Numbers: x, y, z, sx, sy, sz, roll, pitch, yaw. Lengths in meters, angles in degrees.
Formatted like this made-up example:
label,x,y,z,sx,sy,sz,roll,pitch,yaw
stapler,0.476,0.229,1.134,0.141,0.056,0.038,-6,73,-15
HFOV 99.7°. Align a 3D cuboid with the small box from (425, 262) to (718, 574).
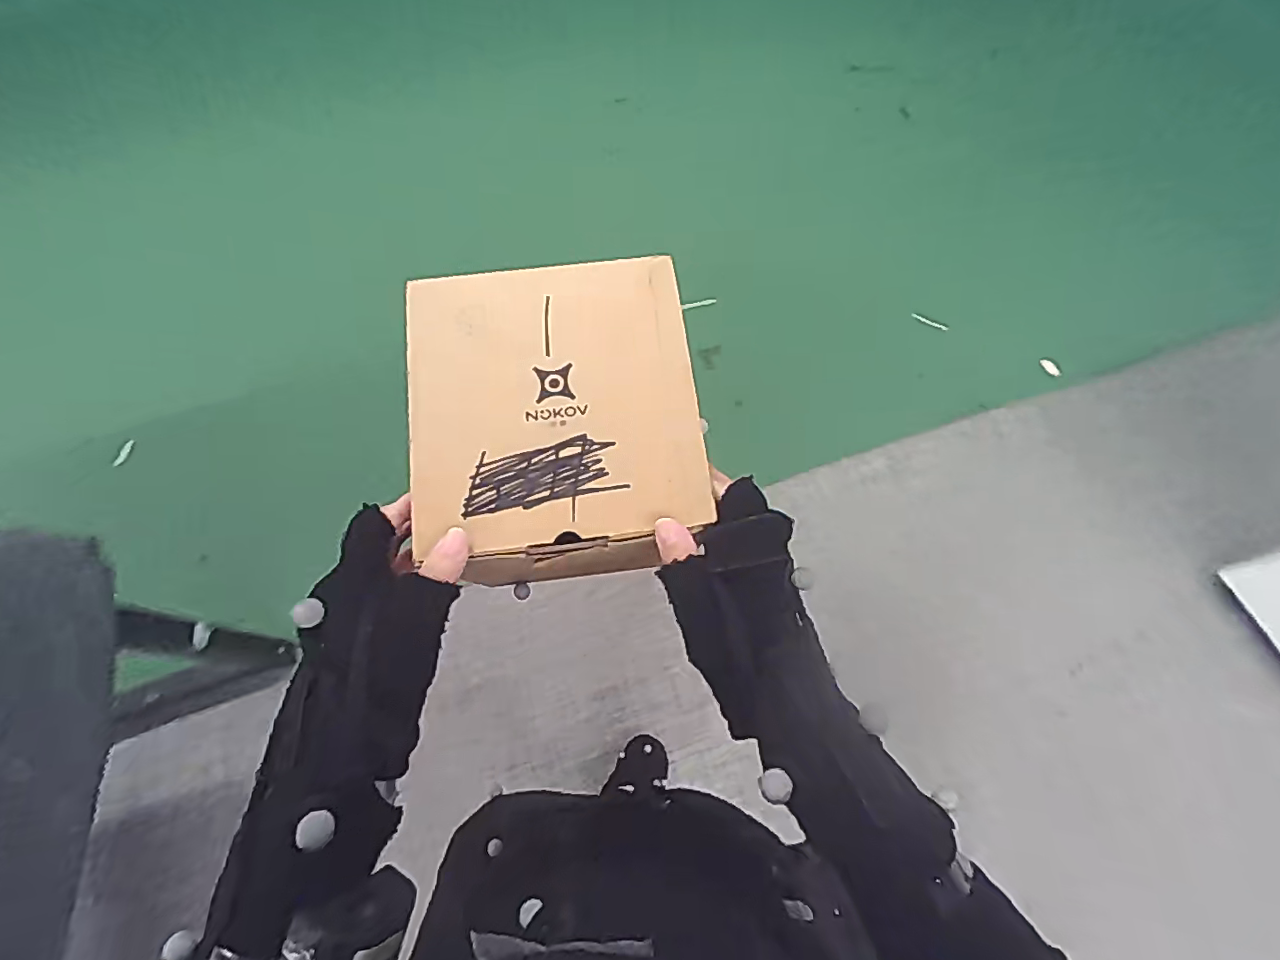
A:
label,x,y,z,sx,sy,sz,roll,pitch,yaw
small box,-0.043,-0.028,0.394,0.168,0.176,0.179,-5,74,-2
